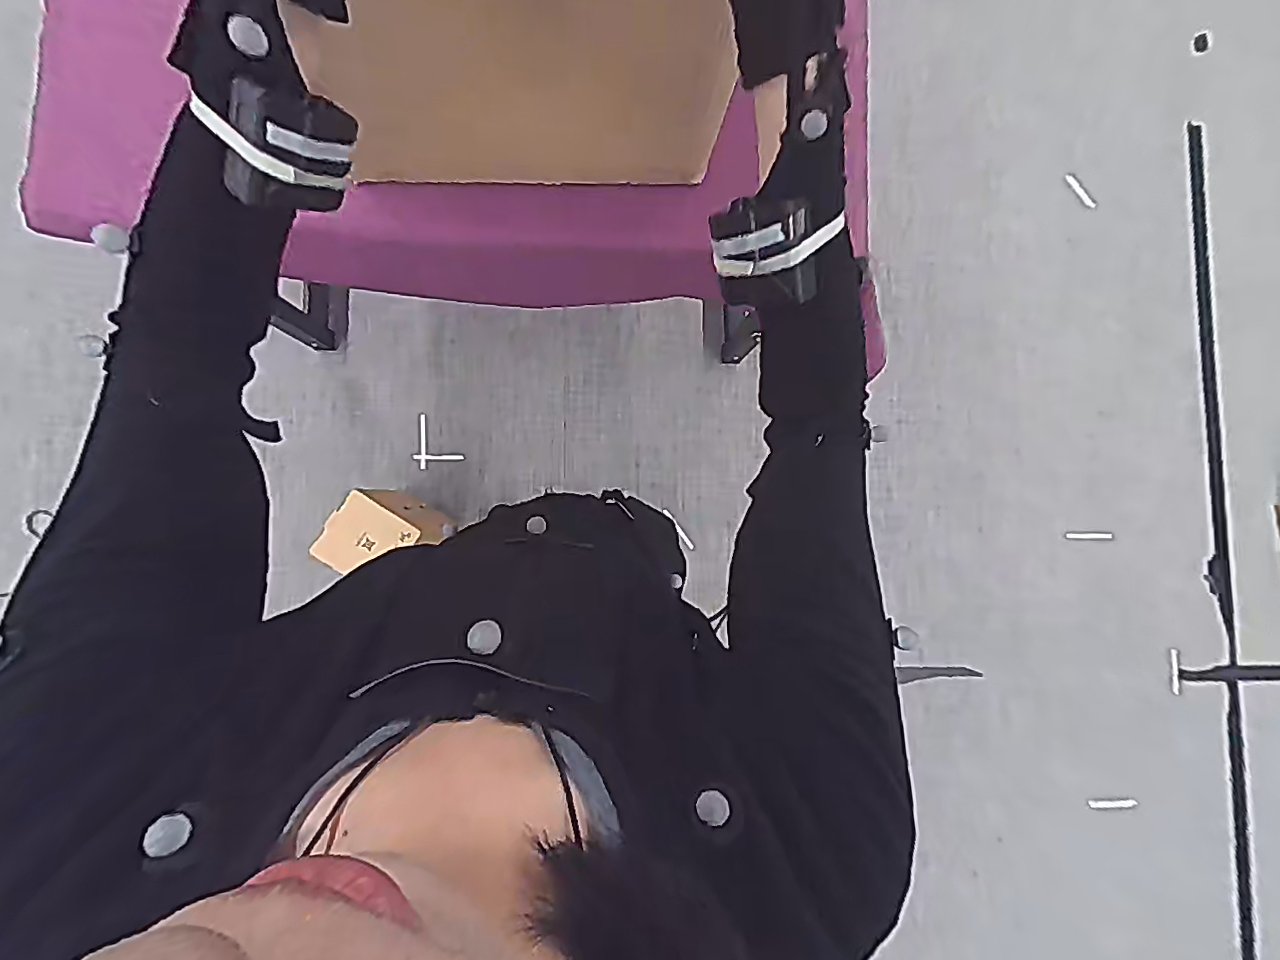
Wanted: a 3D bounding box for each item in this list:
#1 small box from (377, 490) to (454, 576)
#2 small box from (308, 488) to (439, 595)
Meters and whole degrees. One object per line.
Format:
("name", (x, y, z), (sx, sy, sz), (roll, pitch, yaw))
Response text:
("small box", (-0.611, 0.141, 1.388), (0.179, 0.176, 0.168), (32, 85, -4))
("small box", (-0.592, 0.136, 1.225), (0.179, 0.176, 0.168), (34, 85, -2))
